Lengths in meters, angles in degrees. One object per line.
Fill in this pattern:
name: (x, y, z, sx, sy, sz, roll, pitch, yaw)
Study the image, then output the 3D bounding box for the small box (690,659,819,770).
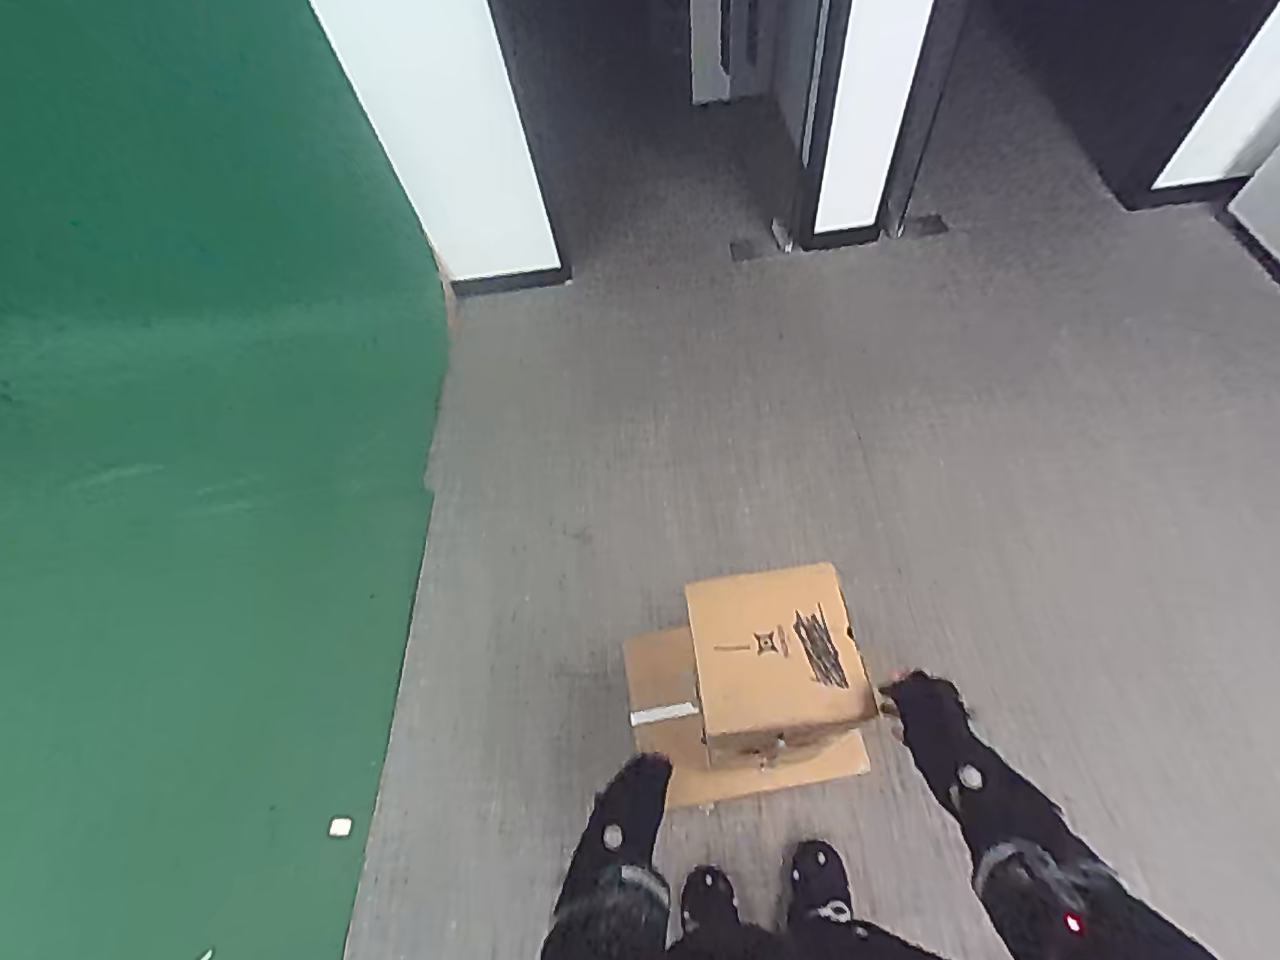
small box: (0.186, 0.393, 0.925, 0.179, 0.176, 0.168, -9, 59, 1)

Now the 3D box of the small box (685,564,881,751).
small box: (0.153, 0.219, 0.648, 0.179, 0.176, 0.168, -10, 59, 0)

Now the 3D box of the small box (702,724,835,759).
small box: (0.167, 0.303, 0.789, 0.168, 0.176, 0.179, -9, 59, 3)
